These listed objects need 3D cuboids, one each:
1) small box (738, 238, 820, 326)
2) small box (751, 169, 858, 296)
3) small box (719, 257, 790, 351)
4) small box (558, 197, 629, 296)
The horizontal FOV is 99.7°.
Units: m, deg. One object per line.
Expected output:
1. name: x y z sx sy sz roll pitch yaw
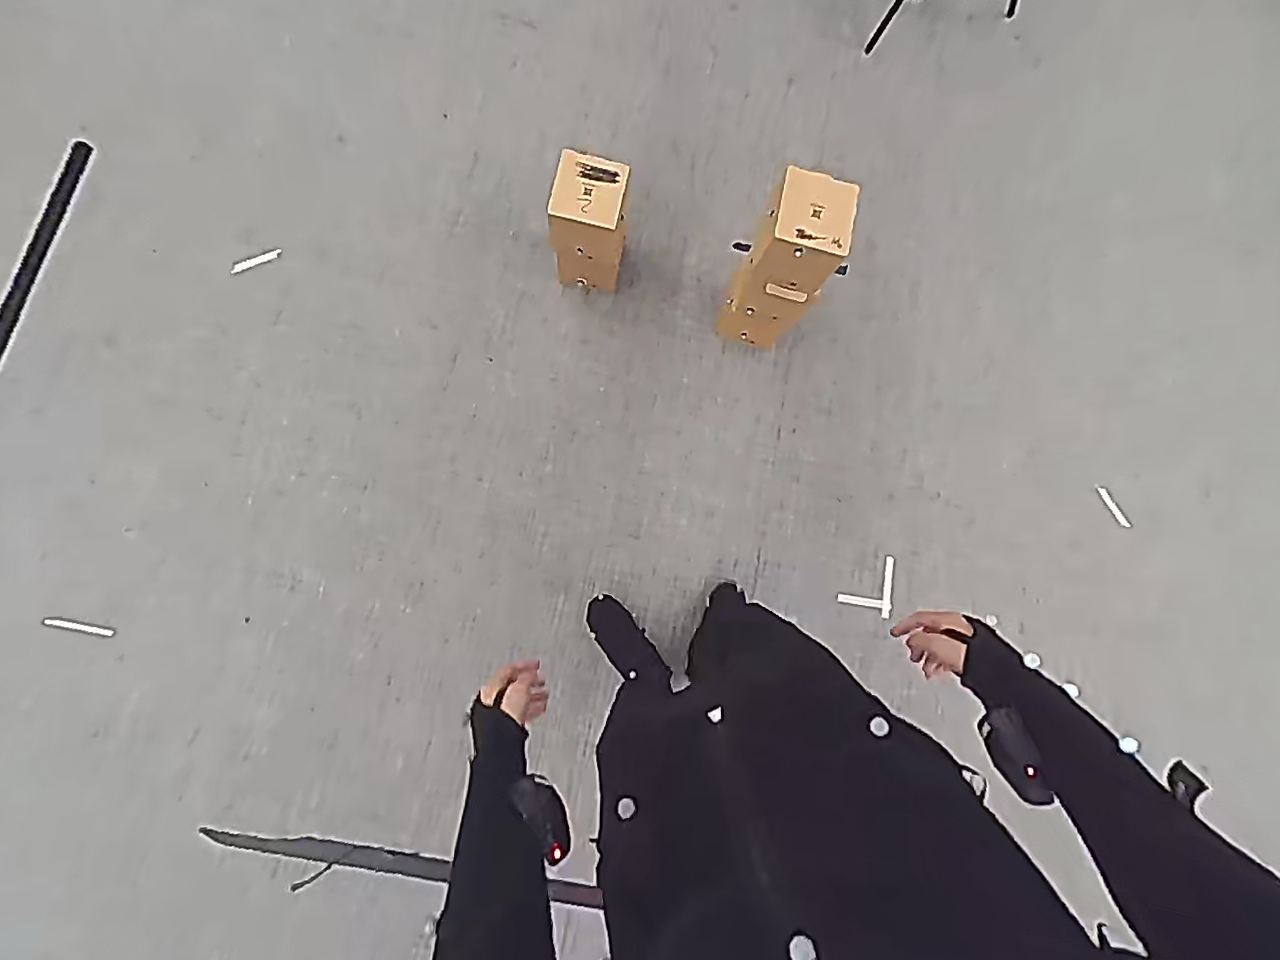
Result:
1. small box: 0.361 -0.522 1.390 0.168 0.176 0.179 14 80 -5
2. small box: 0.366 -0.552 1.227 0.168 0.176 0.179 14 79 -4
3. small box: 0.336 -0.498 1.550 0.168 0.176 0.179 14 80 -4
4. small box: -0.133 -0.650 1.523 0.168 0.176 0.179 10 80 -4
